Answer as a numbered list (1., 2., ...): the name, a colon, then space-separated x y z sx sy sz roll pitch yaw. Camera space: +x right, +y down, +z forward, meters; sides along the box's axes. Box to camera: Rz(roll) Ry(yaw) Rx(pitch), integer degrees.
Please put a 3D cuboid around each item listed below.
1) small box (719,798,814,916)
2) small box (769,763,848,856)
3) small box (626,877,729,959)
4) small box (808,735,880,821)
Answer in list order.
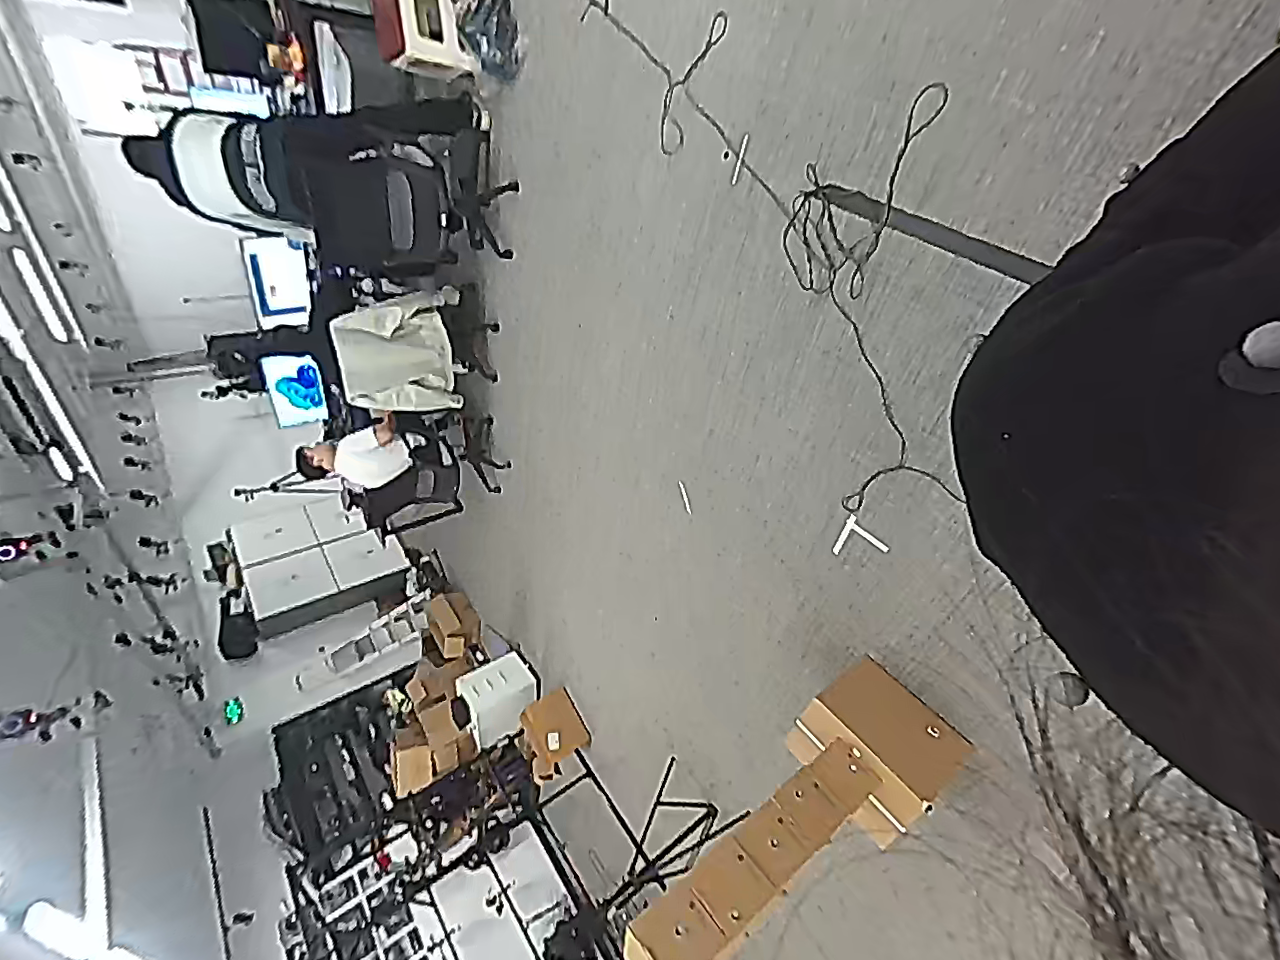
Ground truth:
1. small box: 0.344 1.011 1.463 0.168 0.176 0.179 38 133 40
2. small box: 0.470 0.961 1.557 0.168 0.176 0.179 42 137 37
3. small box: 0.089 1.095 1.275 0.168 0.176 0.179 35 130 42
4. small box: 0.598 0.925 1.650 0.168 0.176 0.179 42 135 35
